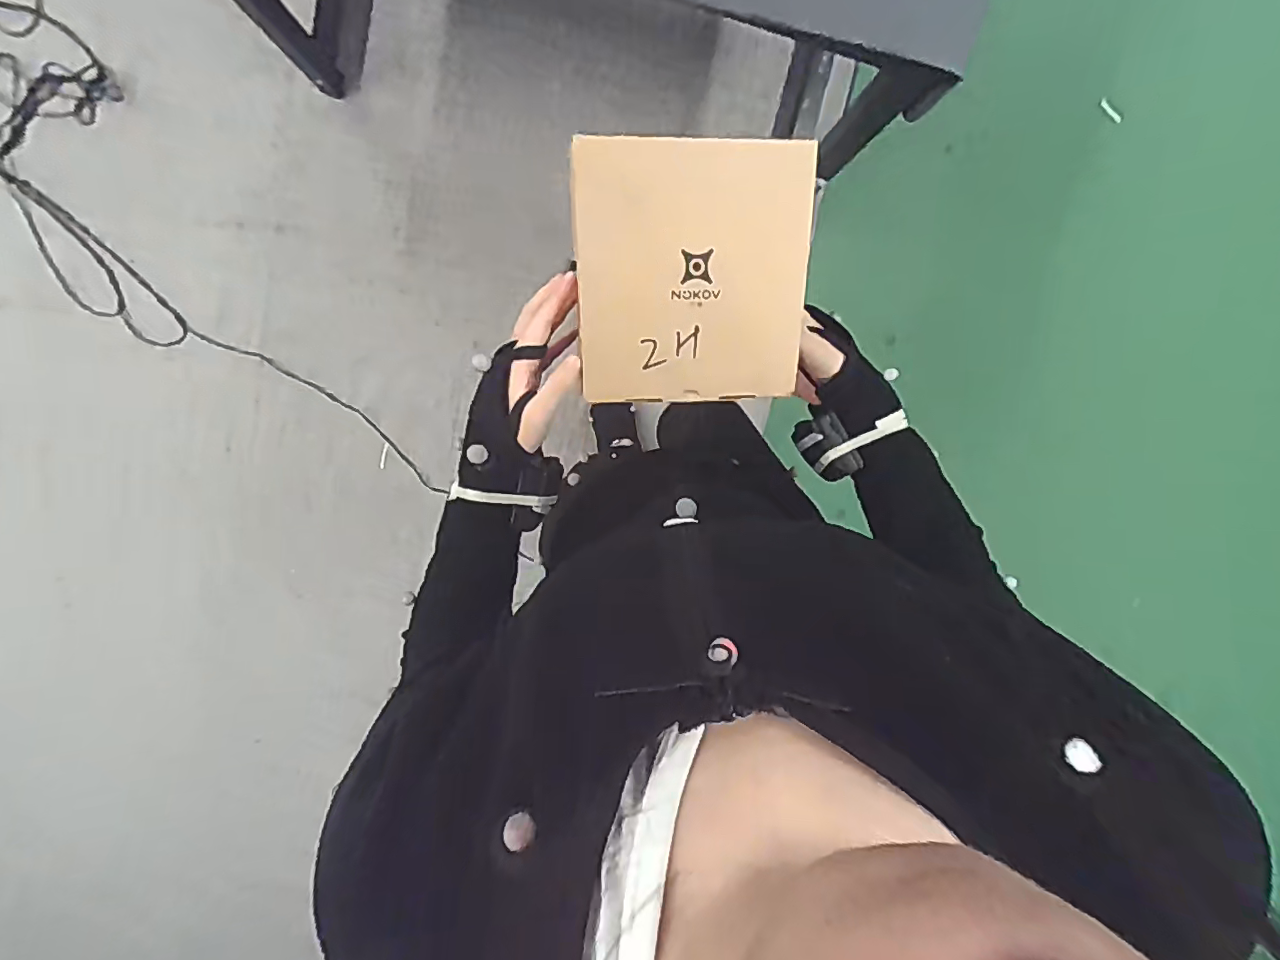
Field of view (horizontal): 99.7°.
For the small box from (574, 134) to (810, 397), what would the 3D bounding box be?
[{"bbox_3d":[0.028,-0.174,0.464,0.168,0.176,0.179,-2,111,-5],"label":"small box"}]
